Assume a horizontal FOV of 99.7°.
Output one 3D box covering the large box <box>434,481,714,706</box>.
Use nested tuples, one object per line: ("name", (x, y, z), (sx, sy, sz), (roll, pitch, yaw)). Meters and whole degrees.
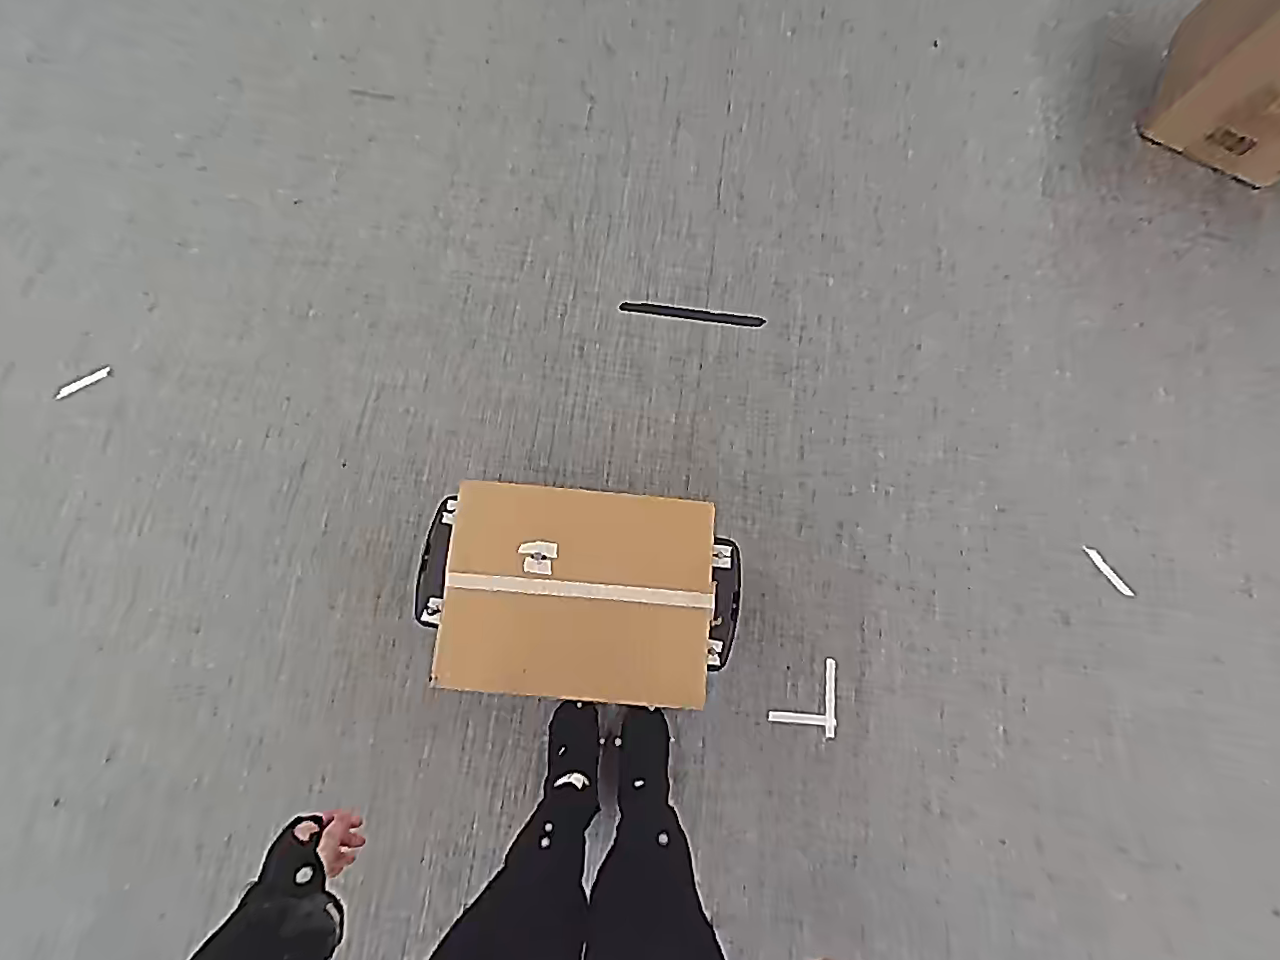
("large box", (-0.093, 0.194, 0.960), (0.408, 0.320, 0.320), (5, 77, 0))
